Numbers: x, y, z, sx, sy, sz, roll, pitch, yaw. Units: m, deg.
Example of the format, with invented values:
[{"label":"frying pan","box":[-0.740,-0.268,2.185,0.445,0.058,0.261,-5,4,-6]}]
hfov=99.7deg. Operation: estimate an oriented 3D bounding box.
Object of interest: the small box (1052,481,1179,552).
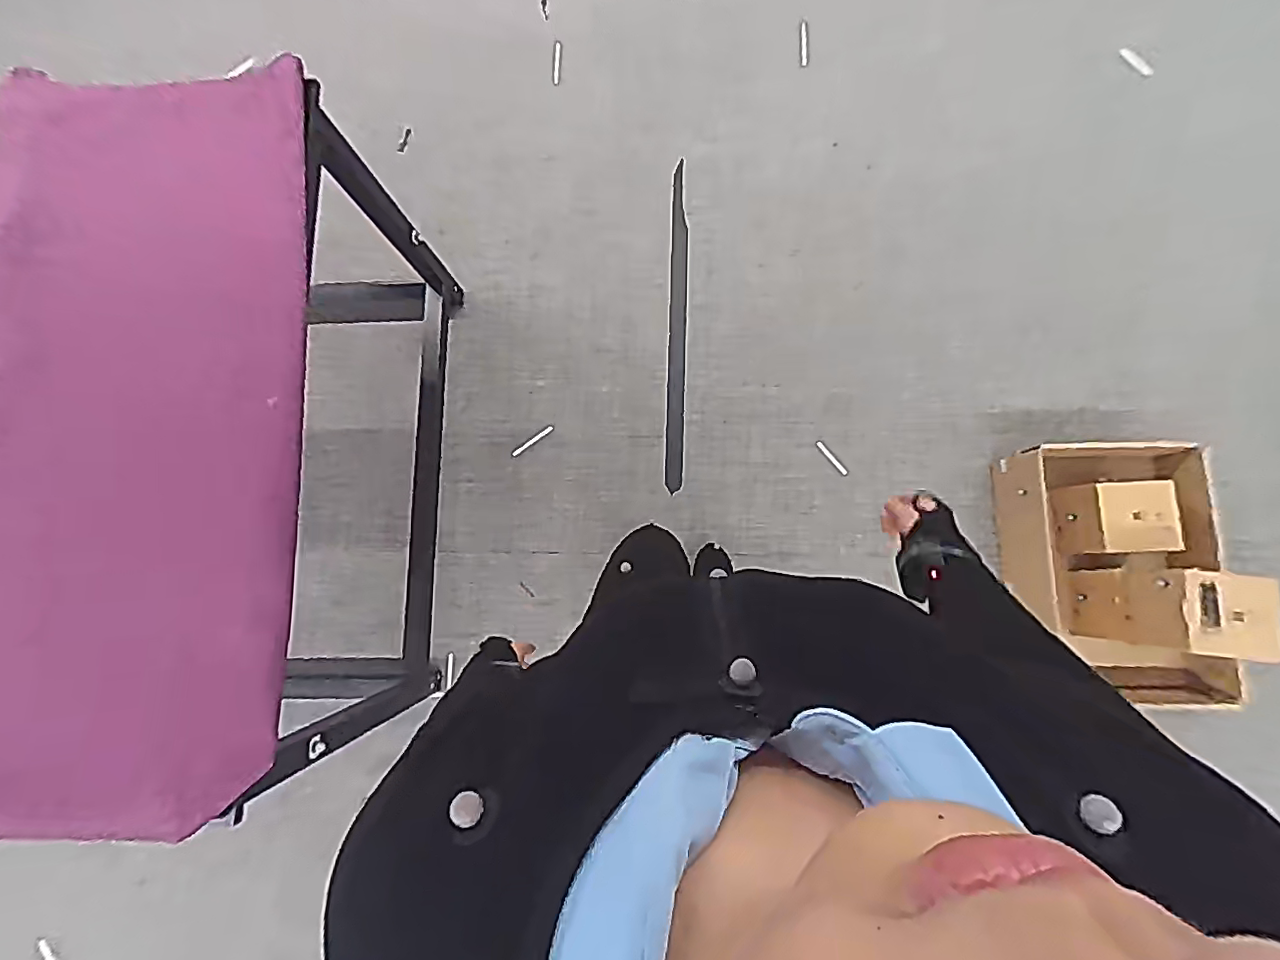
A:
[{"label":"small box","box":[1.167,0.096,1.346,0.179,0.176,0.168,-2,84,3]}]

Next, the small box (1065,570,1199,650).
[{"label":"small box","box":[1.185,0.310,1.316,0.179,0.176,0.168,4,80,5]}]
